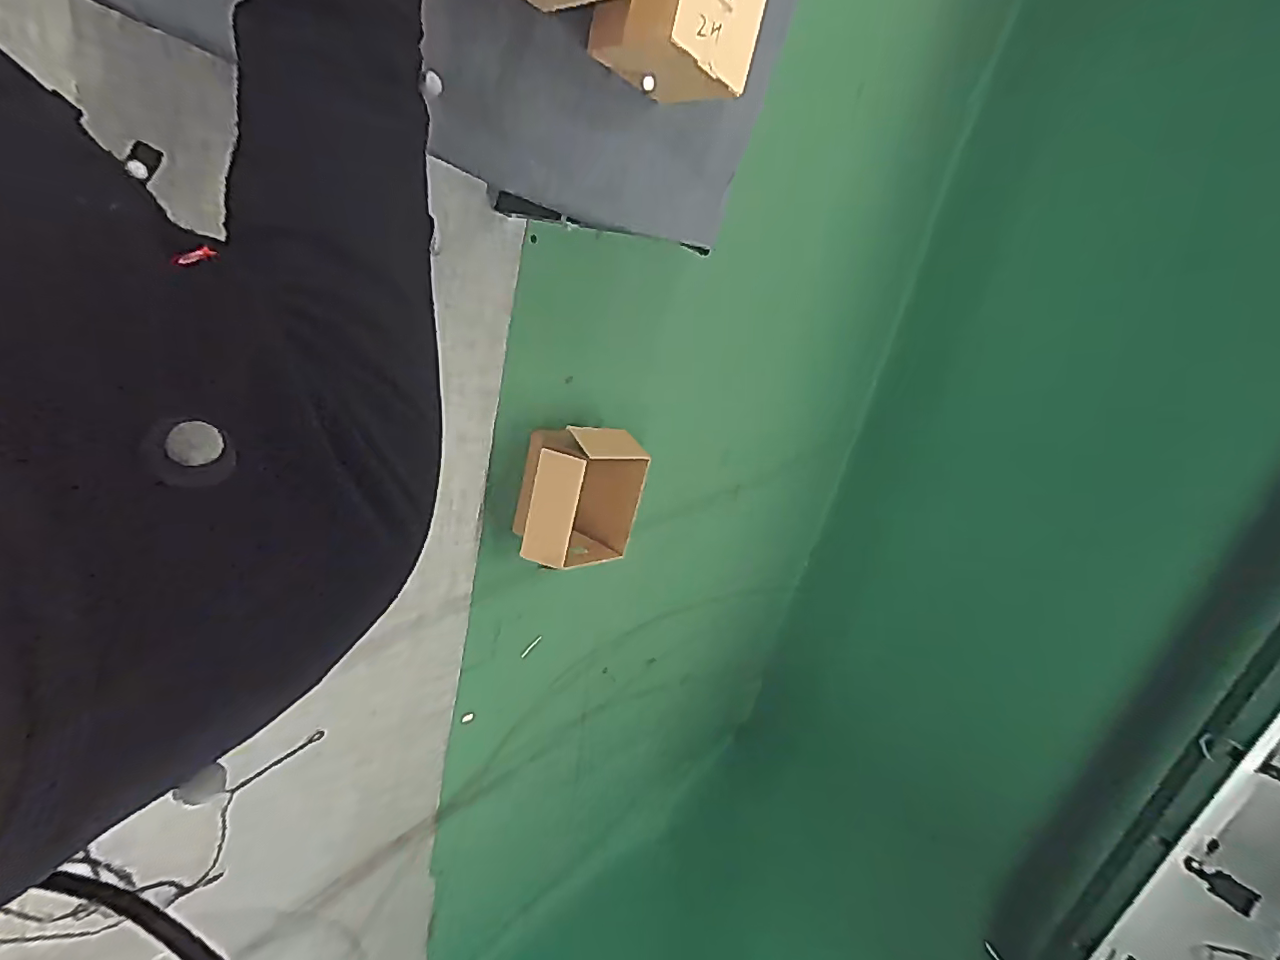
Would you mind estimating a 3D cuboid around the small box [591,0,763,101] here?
[{"bbox_3d":[0.052,-0.668,0.761,0.168,0.176,0.179,-5,116,-47],"label":"small box"}]
